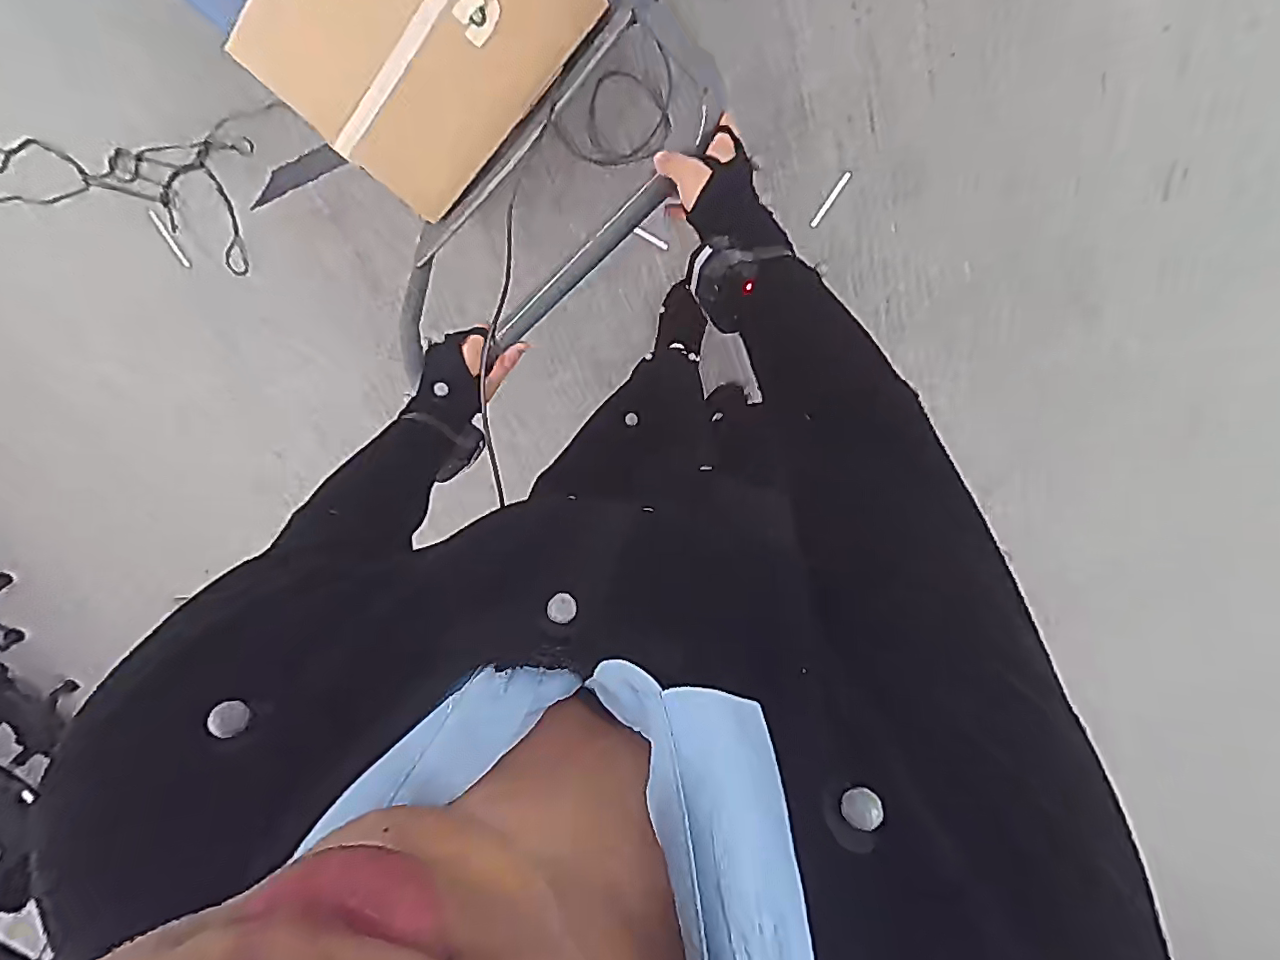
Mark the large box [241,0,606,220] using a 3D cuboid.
[{"bbox_3d":[-0.303,-0.702,0.822,0.408,0.320,0.320,-38,129,24],"label":"large box"}]
